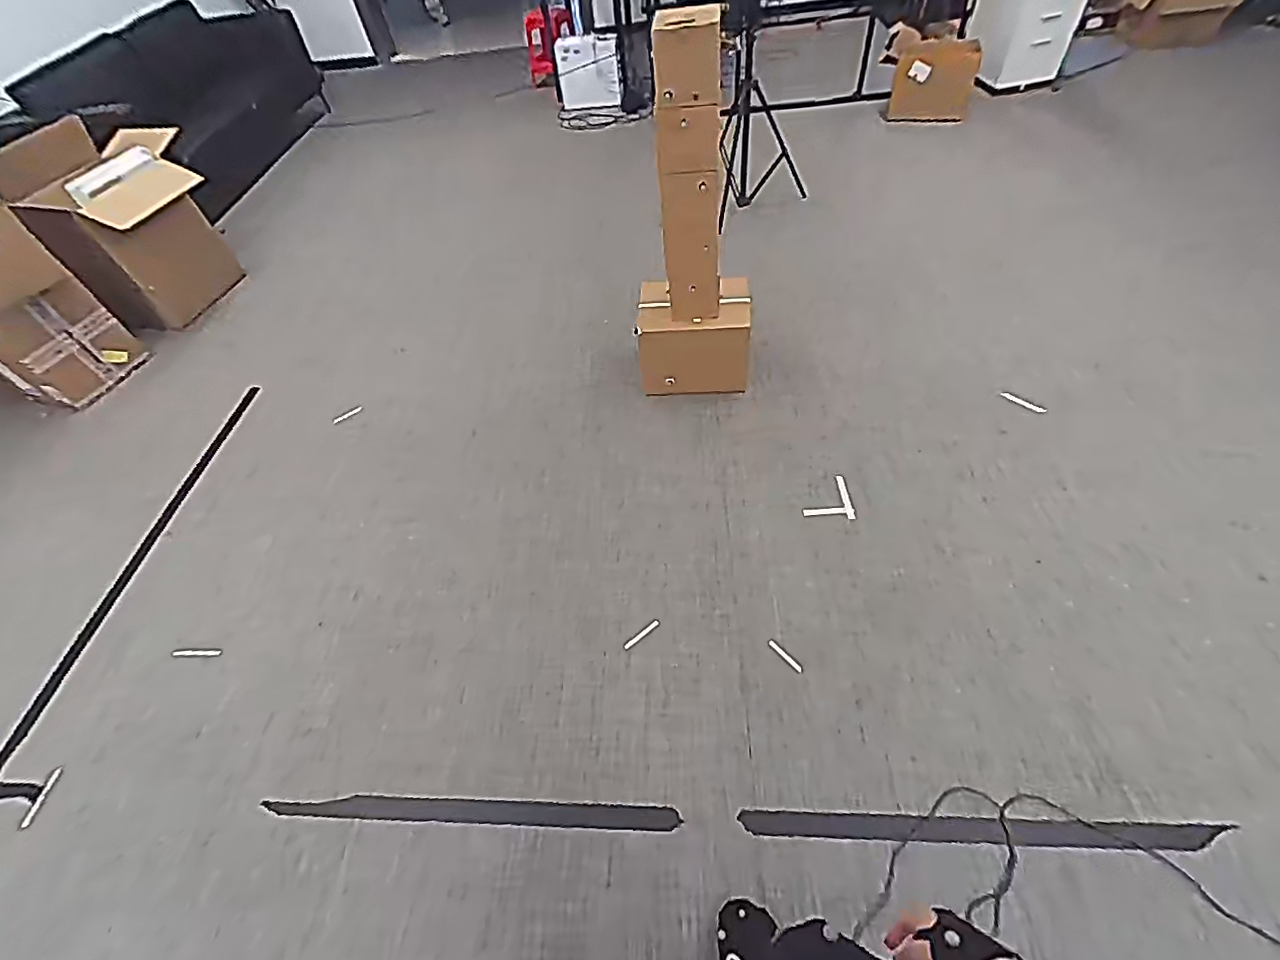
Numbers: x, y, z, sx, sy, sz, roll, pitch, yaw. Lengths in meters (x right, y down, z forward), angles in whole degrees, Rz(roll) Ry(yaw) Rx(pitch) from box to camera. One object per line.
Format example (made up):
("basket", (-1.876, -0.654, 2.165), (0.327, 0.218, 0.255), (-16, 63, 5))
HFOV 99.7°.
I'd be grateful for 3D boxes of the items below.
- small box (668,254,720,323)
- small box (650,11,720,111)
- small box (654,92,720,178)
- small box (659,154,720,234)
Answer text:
("small box", (0.191, -0.674, 1.913), (0.179, 0.176, 0.168), (-2, 53, 5))
("small box", (0.123, -1.079, 1.403), (0.168, 0.176, 0.179), (0, 52, 8))
("small box", (0.137, -0.978, 1.532), (0.179, 0.176, 0.168), (0, 53, 8))
("small box", (0.154, -0.878, 1.658), (0.179, 0.176, 0.168), (0, 52, 8))
